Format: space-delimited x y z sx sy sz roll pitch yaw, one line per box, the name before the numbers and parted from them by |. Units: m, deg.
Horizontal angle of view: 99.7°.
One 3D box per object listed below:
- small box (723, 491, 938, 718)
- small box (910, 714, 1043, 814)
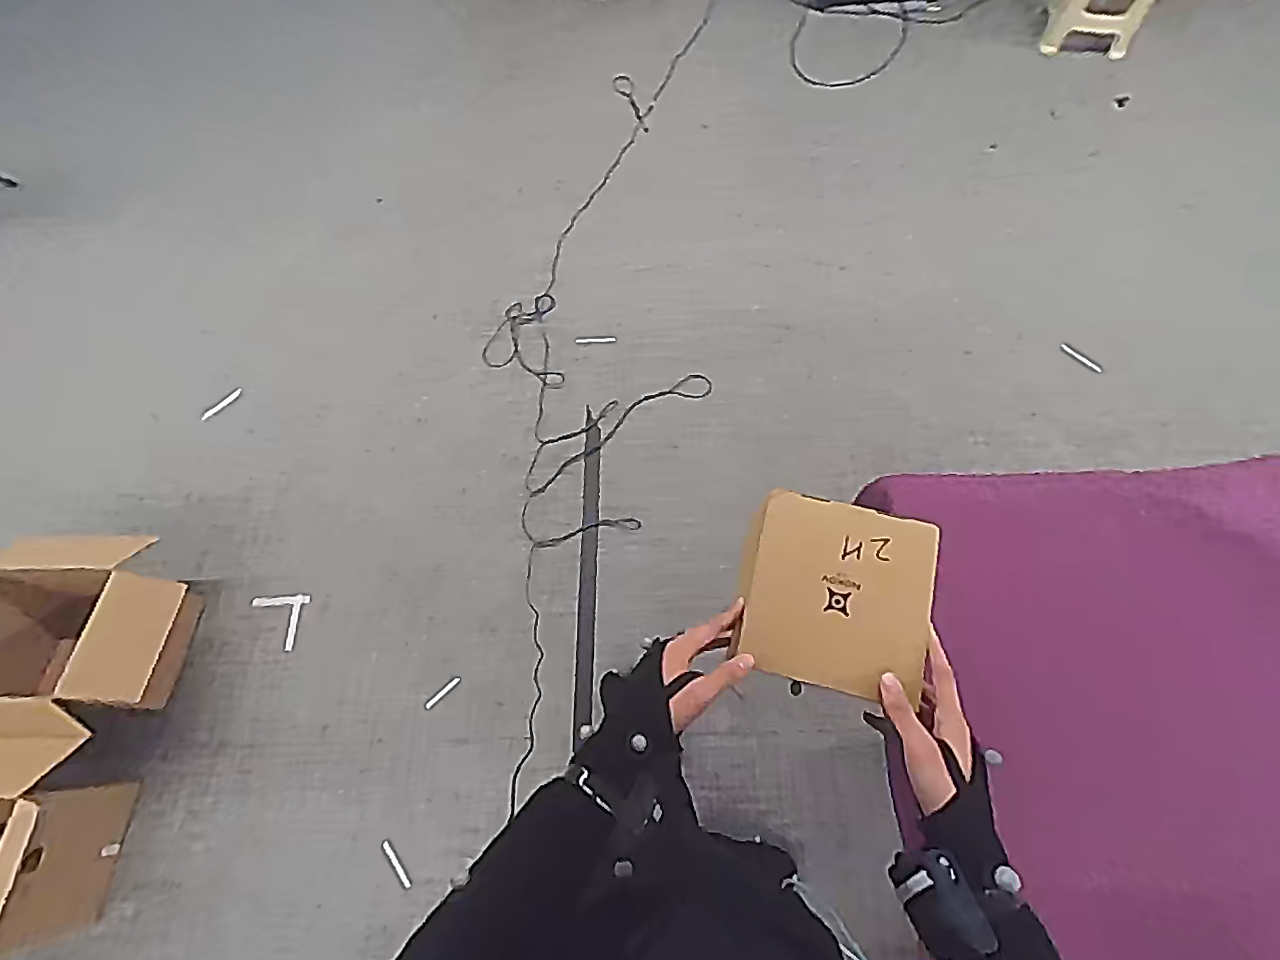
small box | 0.188 0.131 0.578 0.168 0.176 0.179 13 75 7
small box | 0.714 0.605 1.173 0.168 0.176 0.179 -4 69 1
